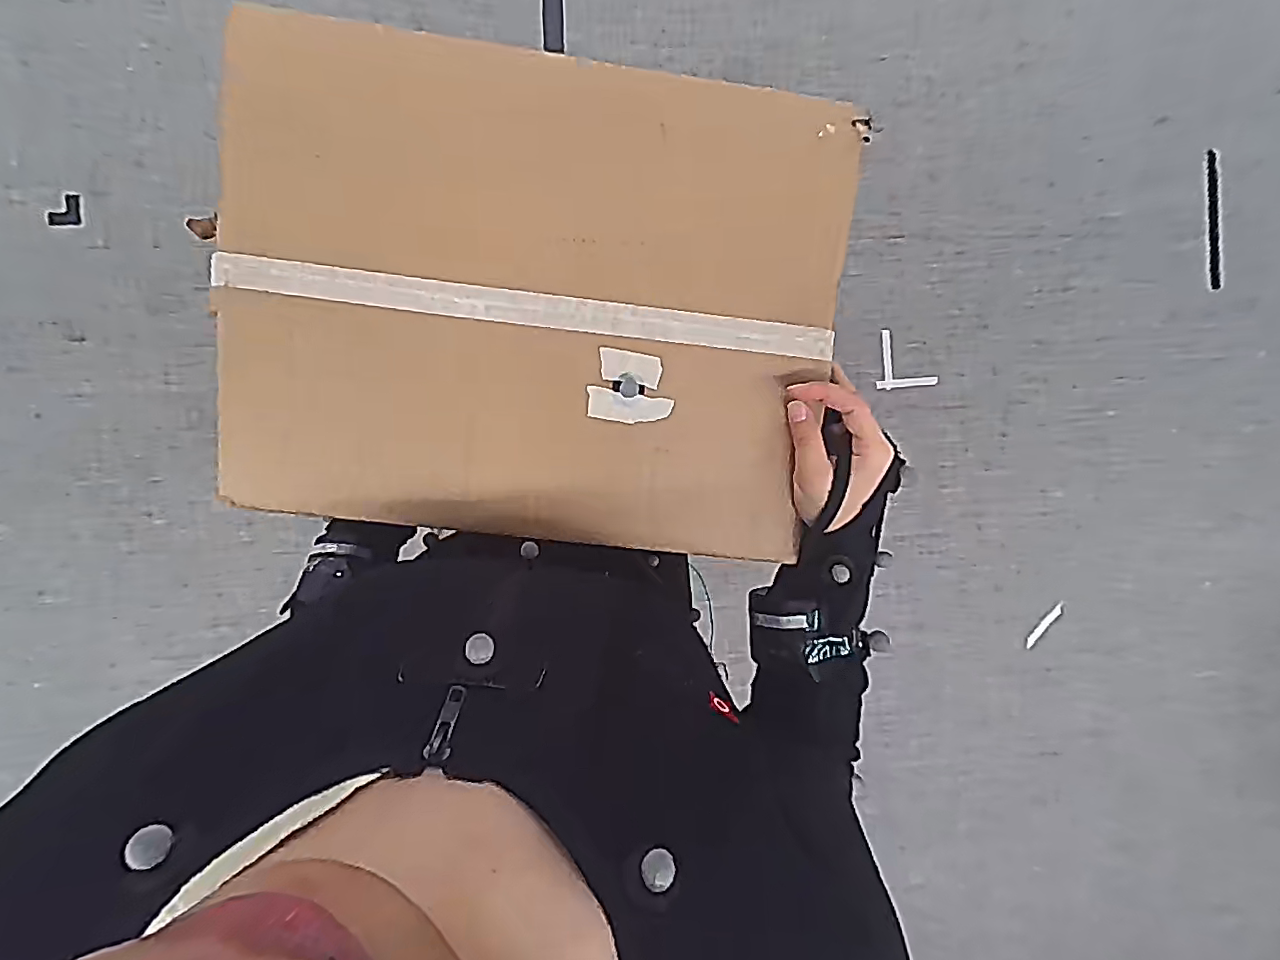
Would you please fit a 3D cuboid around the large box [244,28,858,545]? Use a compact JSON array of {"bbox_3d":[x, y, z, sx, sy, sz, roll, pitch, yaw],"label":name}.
[{"bbox_3d":[-0.073,-0.137,0.517,0.408,0.320,0.320,6,98,-5],"label":"large box"}]
